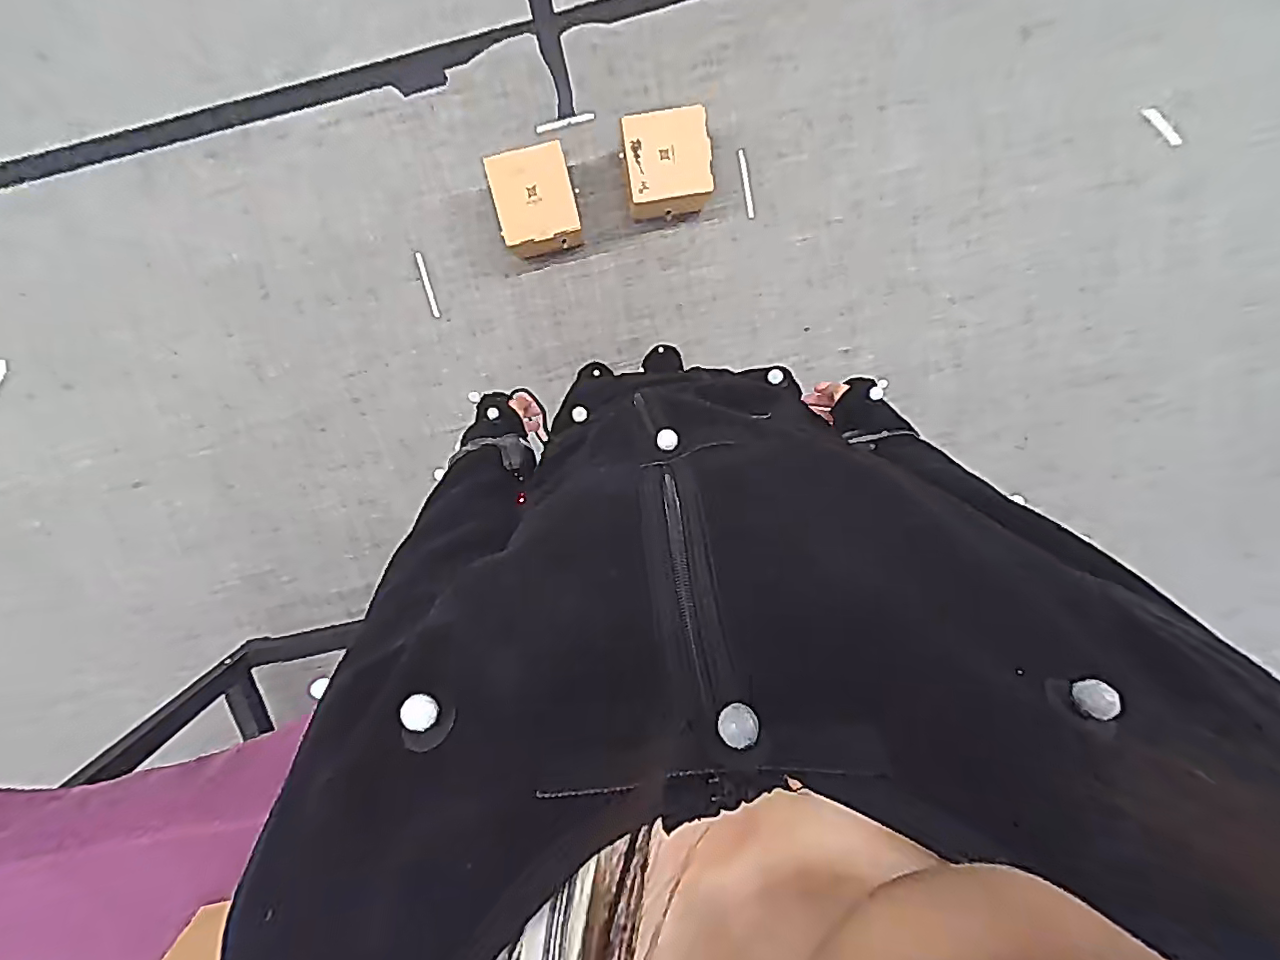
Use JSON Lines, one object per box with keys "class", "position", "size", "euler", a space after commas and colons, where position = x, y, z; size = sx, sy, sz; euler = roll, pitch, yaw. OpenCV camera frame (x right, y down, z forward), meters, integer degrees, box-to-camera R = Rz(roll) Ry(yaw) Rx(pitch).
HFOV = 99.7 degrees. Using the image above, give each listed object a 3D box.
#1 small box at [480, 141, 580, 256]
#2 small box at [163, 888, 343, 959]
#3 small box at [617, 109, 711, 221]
{"class": "small box", "position": [-0.233, -0.608, 1.197], "size": [0.168, 0.176, 0.179], "euler": [-14, 103, -1]}
{"class": "small box", "position": [-0.550, 0.708, 0.735], "size": [0.179, 0.176, 0.168], "euler": [-13, 105, 0]}
{"class": "small box", "position": [0.048, -0.687, 1.195], "size": [0.179, 0.176, 0.168], "euler": [-9, 104, -2]}
